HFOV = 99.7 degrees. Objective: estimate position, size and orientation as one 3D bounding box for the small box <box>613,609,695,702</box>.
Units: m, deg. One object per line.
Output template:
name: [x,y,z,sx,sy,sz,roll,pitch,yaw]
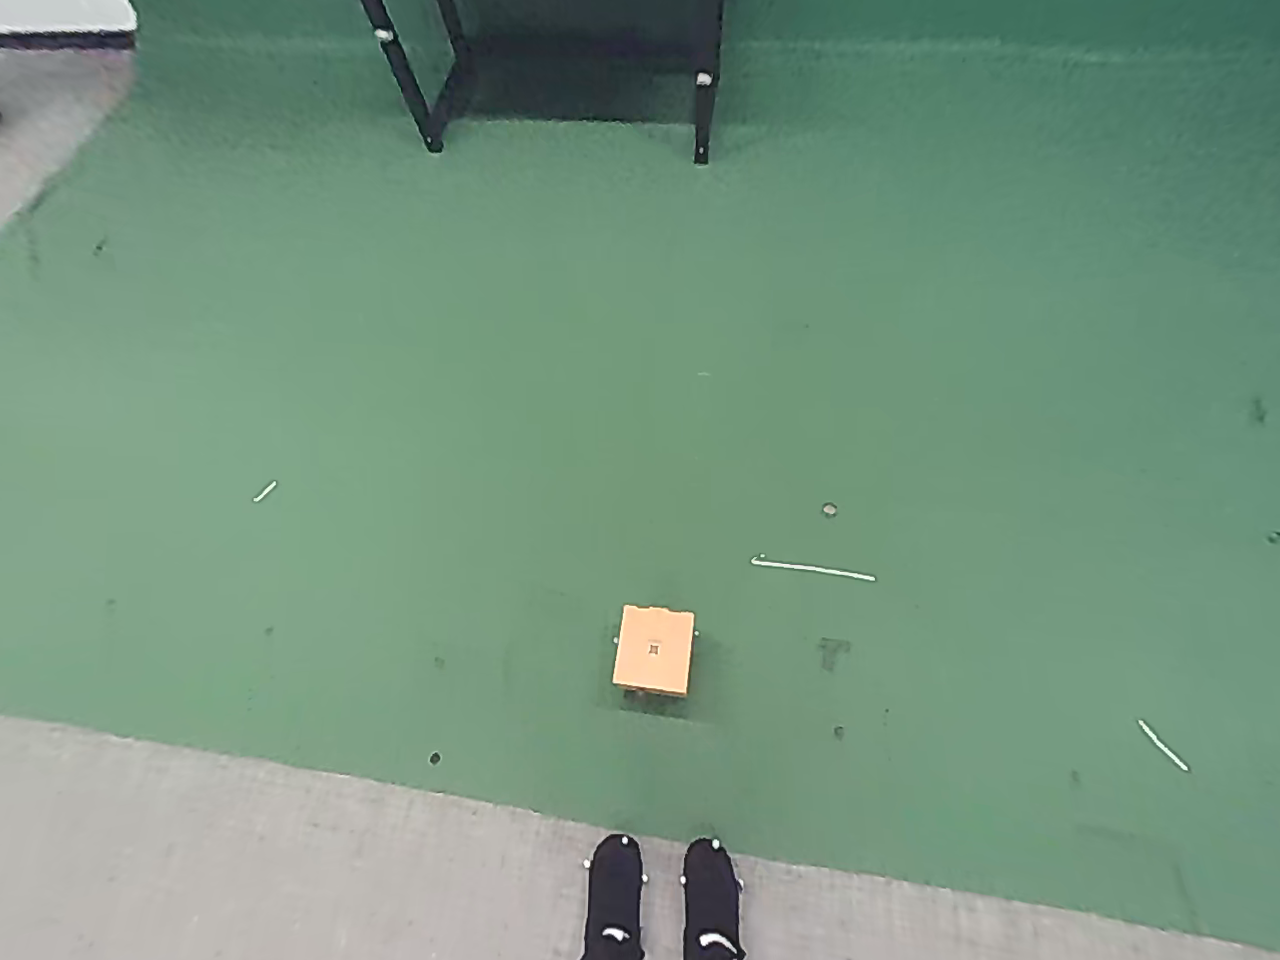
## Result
small box: [0.041,0.418,1.273,0.168,0.176,0.179,5,64,8]
